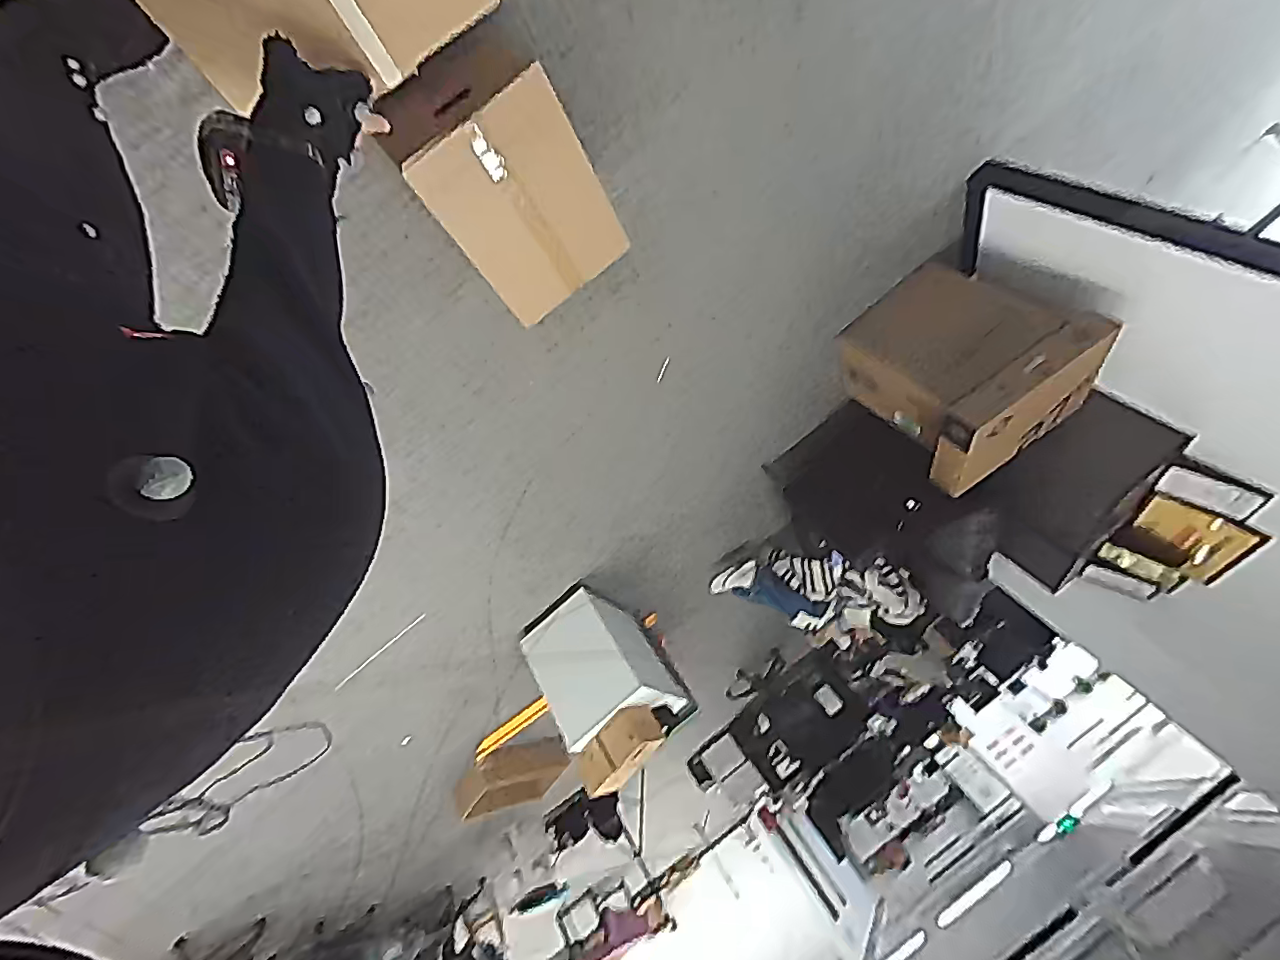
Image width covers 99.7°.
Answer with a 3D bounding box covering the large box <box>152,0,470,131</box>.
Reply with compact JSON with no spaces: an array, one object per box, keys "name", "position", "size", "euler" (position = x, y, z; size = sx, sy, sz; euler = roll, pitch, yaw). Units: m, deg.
[{"name":"large box","position":[-0.413,-0.665,0.536],"size":[0.320,0.320,0.408],"euler":[-35,142,0]}]
